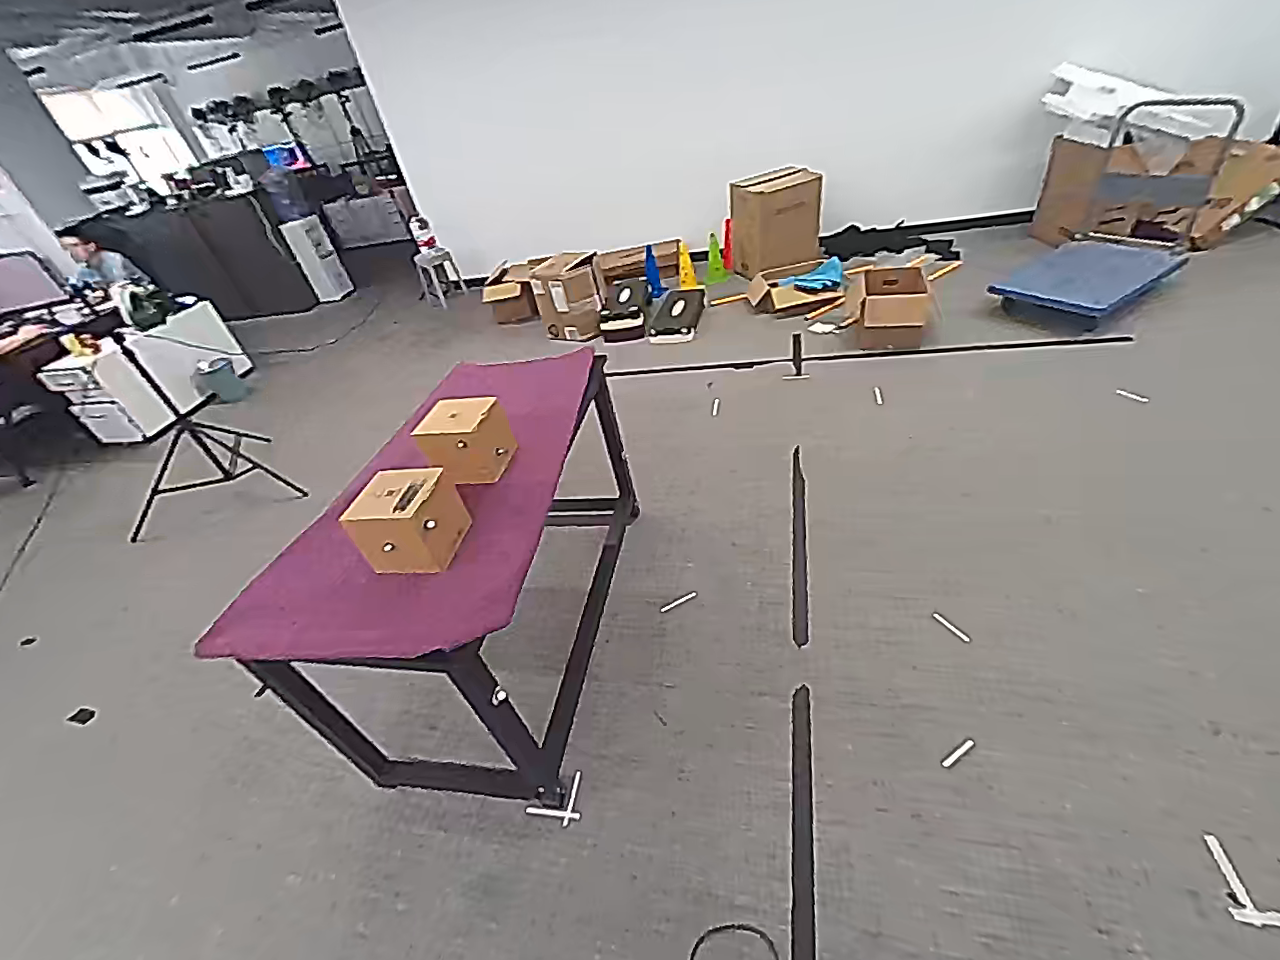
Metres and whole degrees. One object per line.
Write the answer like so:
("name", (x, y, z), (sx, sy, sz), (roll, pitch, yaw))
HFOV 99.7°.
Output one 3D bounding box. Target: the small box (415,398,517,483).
("small box", (-0.455, -0.102, 1.443), (0.179, 0.176, 0.168), (-1, 40, 14))
